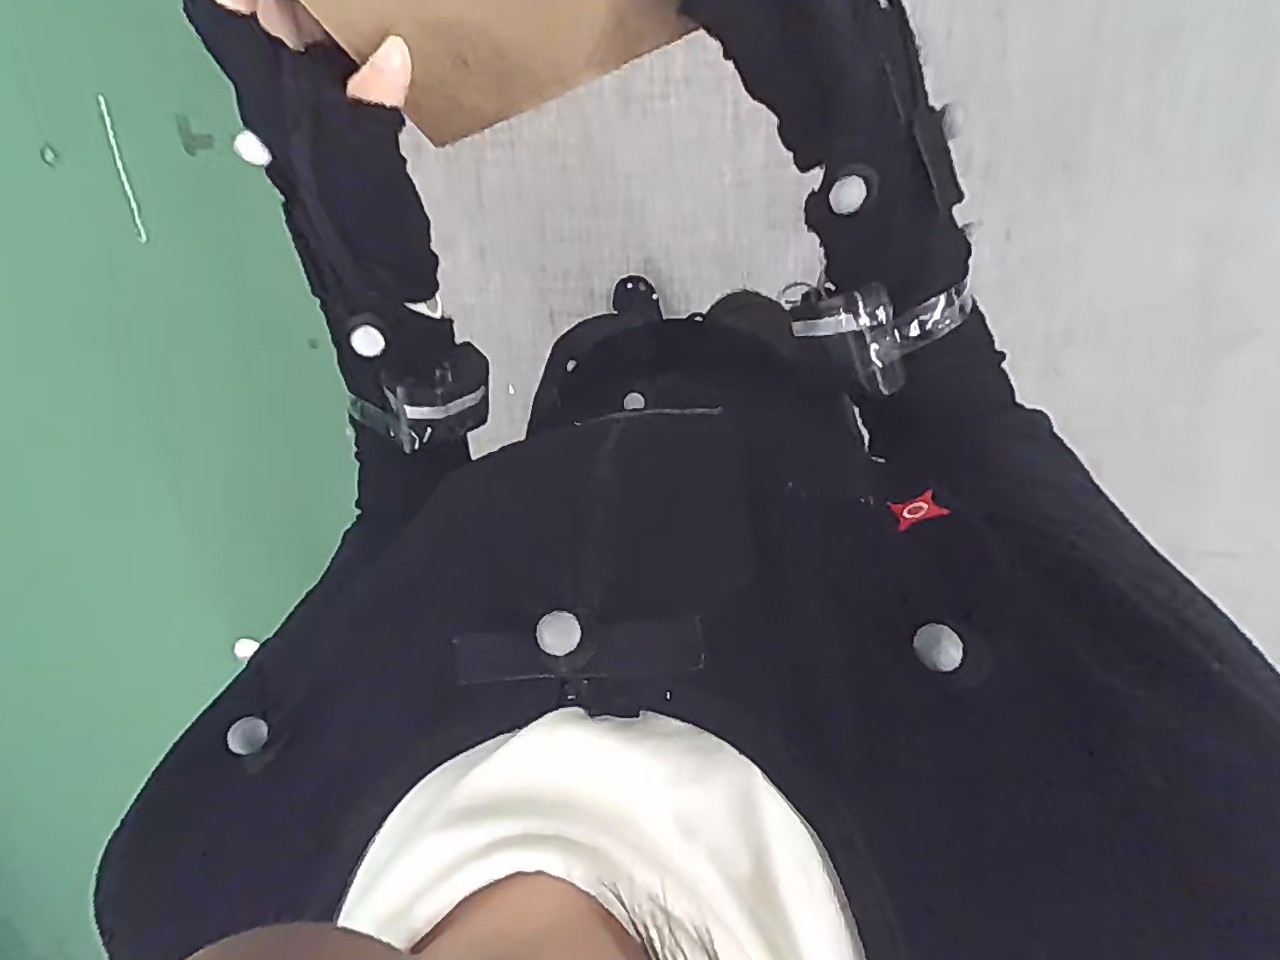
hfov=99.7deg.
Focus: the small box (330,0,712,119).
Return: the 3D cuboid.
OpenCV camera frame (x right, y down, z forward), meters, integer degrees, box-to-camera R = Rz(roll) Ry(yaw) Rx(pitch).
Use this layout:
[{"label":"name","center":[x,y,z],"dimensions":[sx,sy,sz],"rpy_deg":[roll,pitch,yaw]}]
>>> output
[{"label":"small box","center":[-0.065,-0.294,0.199],"dimensions":[0.179,0.168,0.176],"rpy_deg":[-14,83,13]}]
